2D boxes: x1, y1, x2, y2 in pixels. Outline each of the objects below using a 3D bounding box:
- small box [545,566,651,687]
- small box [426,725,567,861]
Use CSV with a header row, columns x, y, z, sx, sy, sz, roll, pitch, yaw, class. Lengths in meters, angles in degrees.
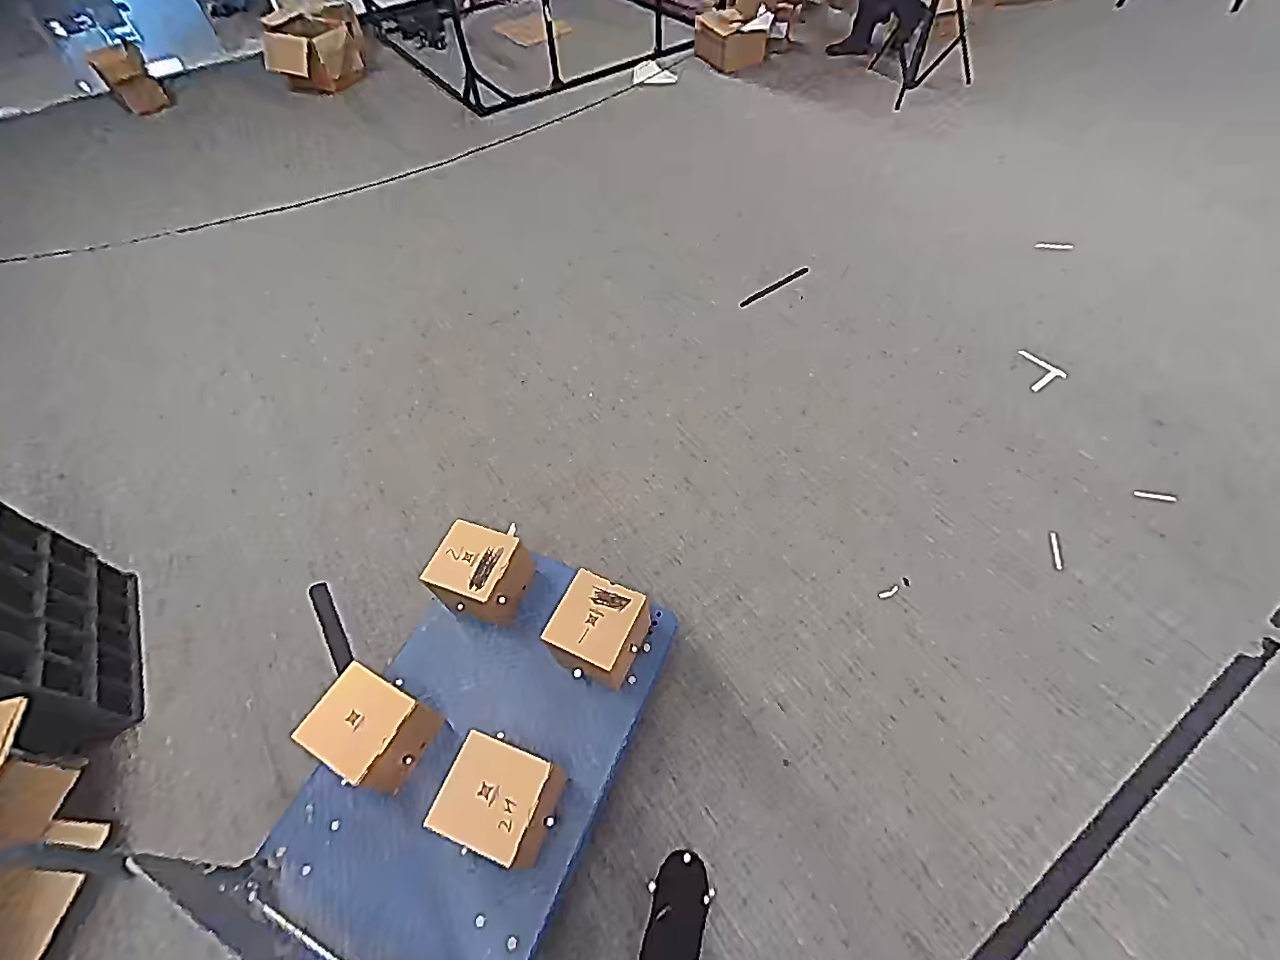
x,y,z,sx,sy,sz,roll,pitch,yaw,class
-0.085,0.325,1.193,0.168,0.176,0.179,21,60,17,small box
-0.258,0.591,1.016,0.179,0.176,0.168,16,58,15,small box
